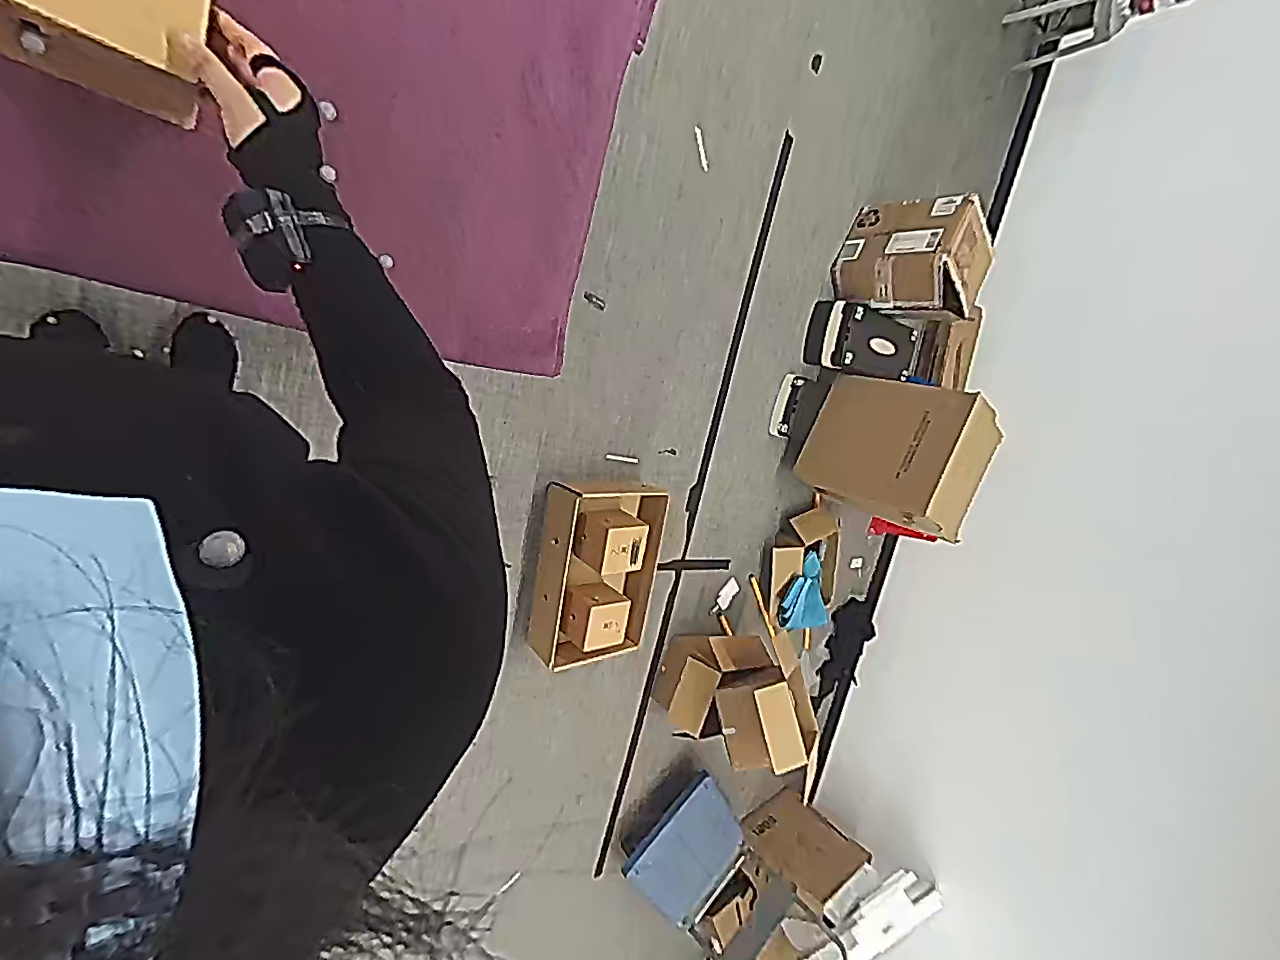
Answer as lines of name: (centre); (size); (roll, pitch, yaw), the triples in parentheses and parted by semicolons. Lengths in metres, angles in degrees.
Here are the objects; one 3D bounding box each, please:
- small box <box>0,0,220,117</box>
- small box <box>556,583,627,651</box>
small box: (-0.442, -0.419, 0.423); (0.179, 0.176, 0.168); (8, 100, -42)
small box: (-0.176, 0.477, 1.904); (0.179, 0.176, 0.168); (2, 104, -42)
